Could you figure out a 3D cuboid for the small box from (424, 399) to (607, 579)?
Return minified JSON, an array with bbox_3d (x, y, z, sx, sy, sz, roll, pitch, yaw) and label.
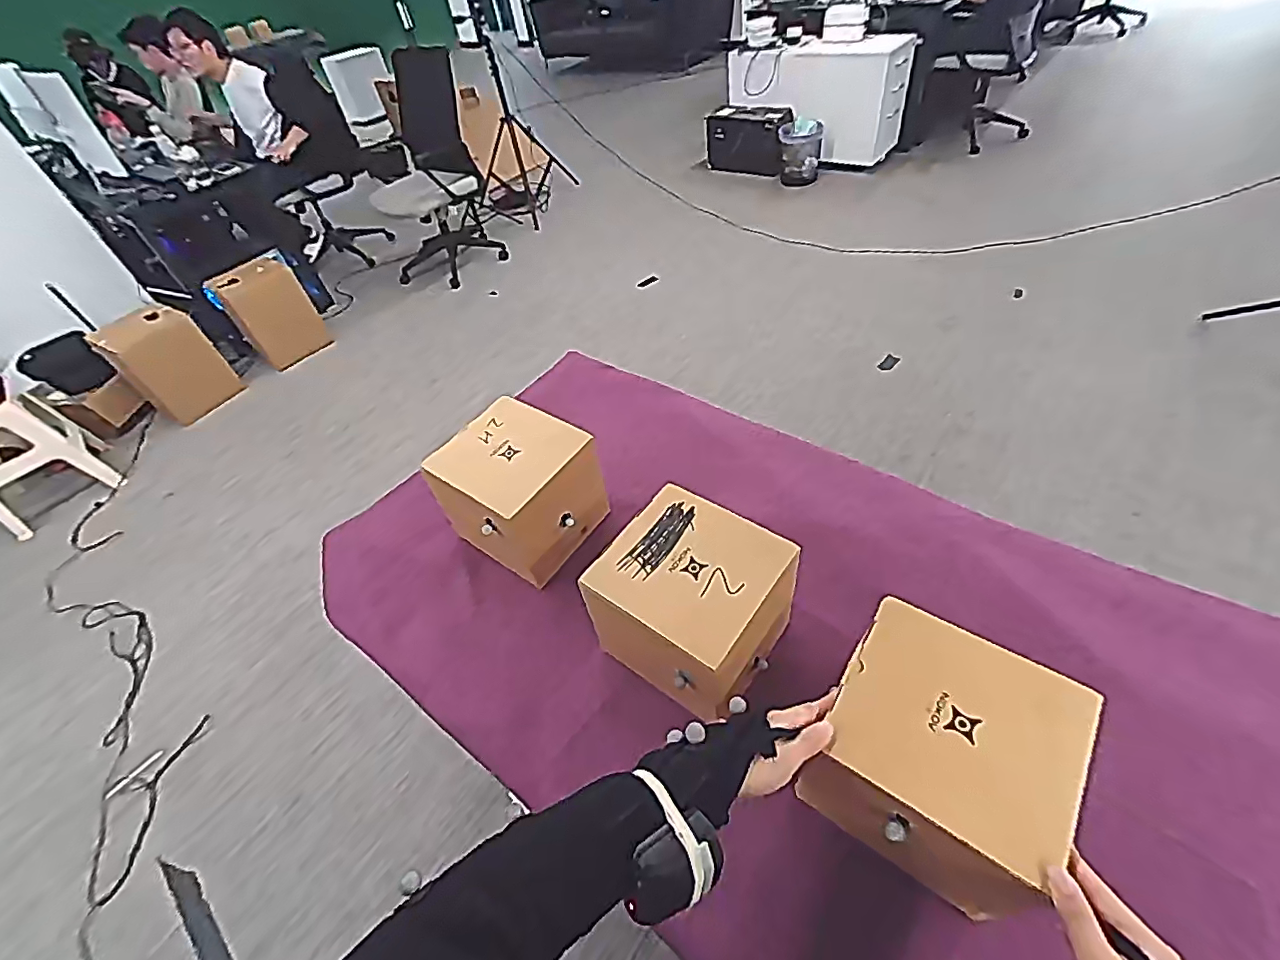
[{"bbox_3d":[-0.167,0.018,0.785,0.179,0.176,0.168,26,56,27],"label":"small box"}]
